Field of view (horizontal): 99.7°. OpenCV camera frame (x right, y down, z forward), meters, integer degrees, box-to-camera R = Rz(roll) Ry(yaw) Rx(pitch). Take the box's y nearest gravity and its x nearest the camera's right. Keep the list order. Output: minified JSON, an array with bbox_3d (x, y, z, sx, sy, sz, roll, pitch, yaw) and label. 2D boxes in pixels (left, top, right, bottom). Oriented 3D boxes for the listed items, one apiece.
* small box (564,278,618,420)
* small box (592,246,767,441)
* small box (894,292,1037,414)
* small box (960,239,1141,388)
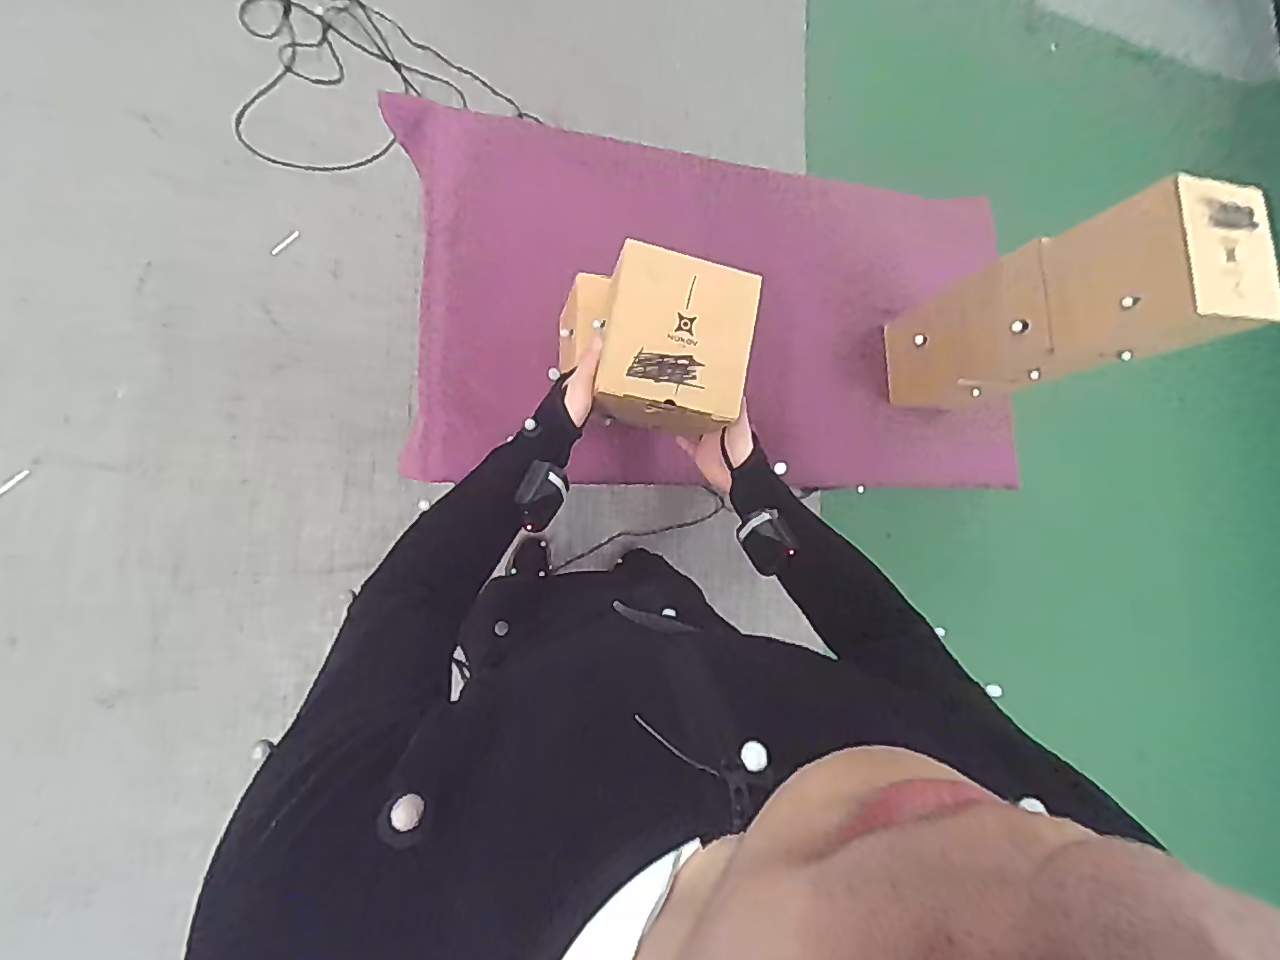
[{"bbox_3d":[-0.028,-0.191,0.860,0.168,0.176,0.179,2,82,-15],"label":"small box"},{"bbox_3d":[0.038,-0.154,0.678,0.168,0.176,0.179,12,85,-10],"label":"small box"},{"bbox_3d":[0.616,-0.236,1.044,0.168,0.176,0.179,0,82,-14],"label":"small box"},{"bbox_3d":[0.659,-0.259,0.885,0.168,0.176,0.179,2,83,-16],"label":"small box"}]
